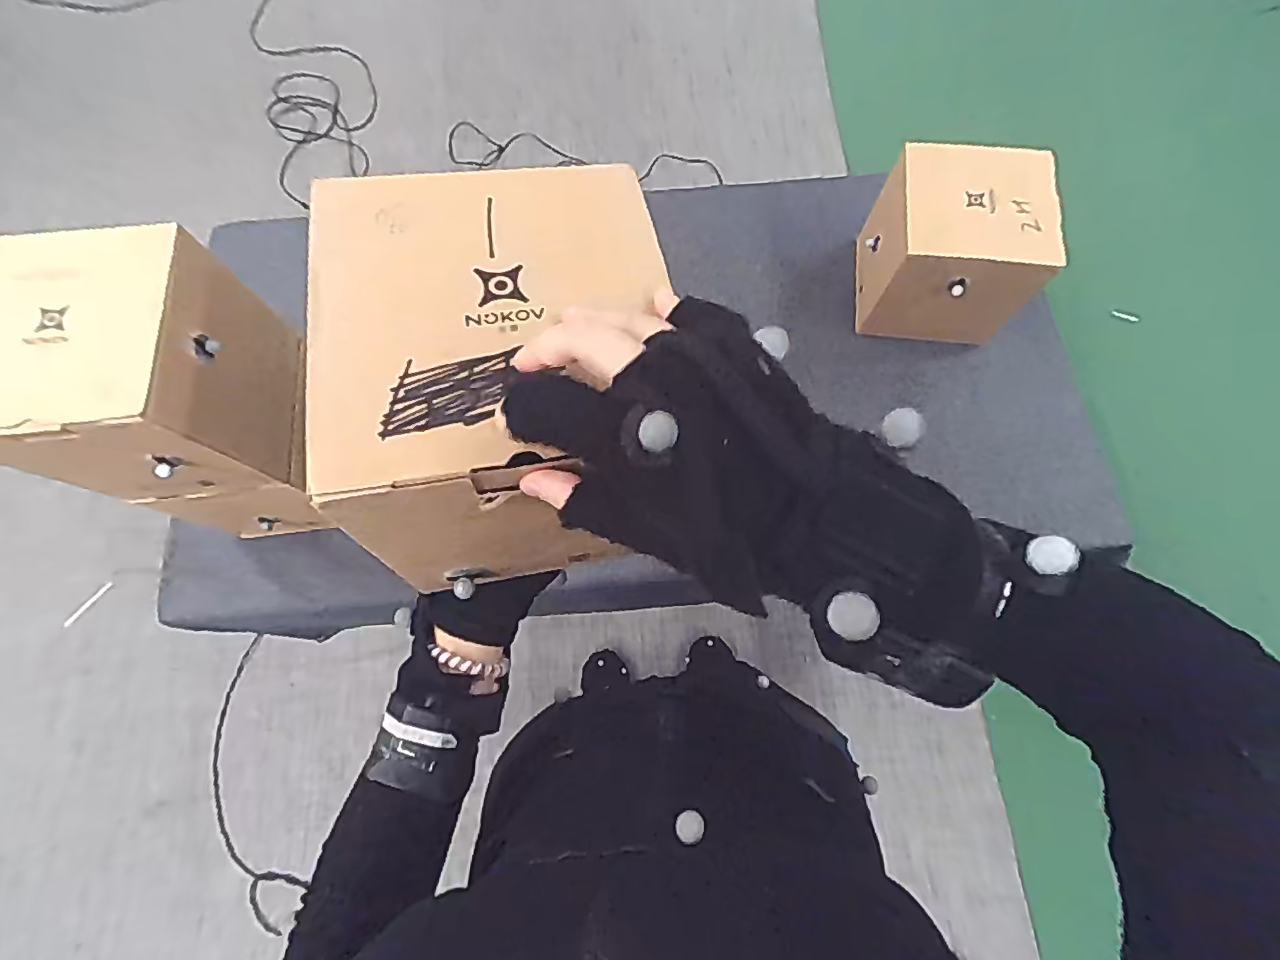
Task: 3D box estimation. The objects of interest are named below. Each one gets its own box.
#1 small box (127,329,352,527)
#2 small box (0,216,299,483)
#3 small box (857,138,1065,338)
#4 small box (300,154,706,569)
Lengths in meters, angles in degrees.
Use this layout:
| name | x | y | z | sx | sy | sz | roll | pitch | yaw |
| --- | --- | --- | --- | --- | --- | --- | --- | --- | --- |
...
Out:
| name | x | y | z | sx | sy | sz | roll | pitch | yaw |
| --- | --- | --- | --- | --- | --- | --- | --- | --- | --- |
| small box | -0.438 | -0.053 | 0.641 | 0.168 | 0.176 | 0.179 | -6 | 73 | -1 |
| small box | -0.440 | -0.101 | 0.485 | 0.168 | 0.176 | 0.179 | -5 | 73 | -2 |
| small box | 0.396 | -0.301 | 0.700 | 0.179 | 0.176 | 0.168 | 7 | 74 | 3 |
| small box | -0.073 | -0.055 | 0.321 | 0.168 | 0.176 | 0.179 | -9 | 67 | -10 |
